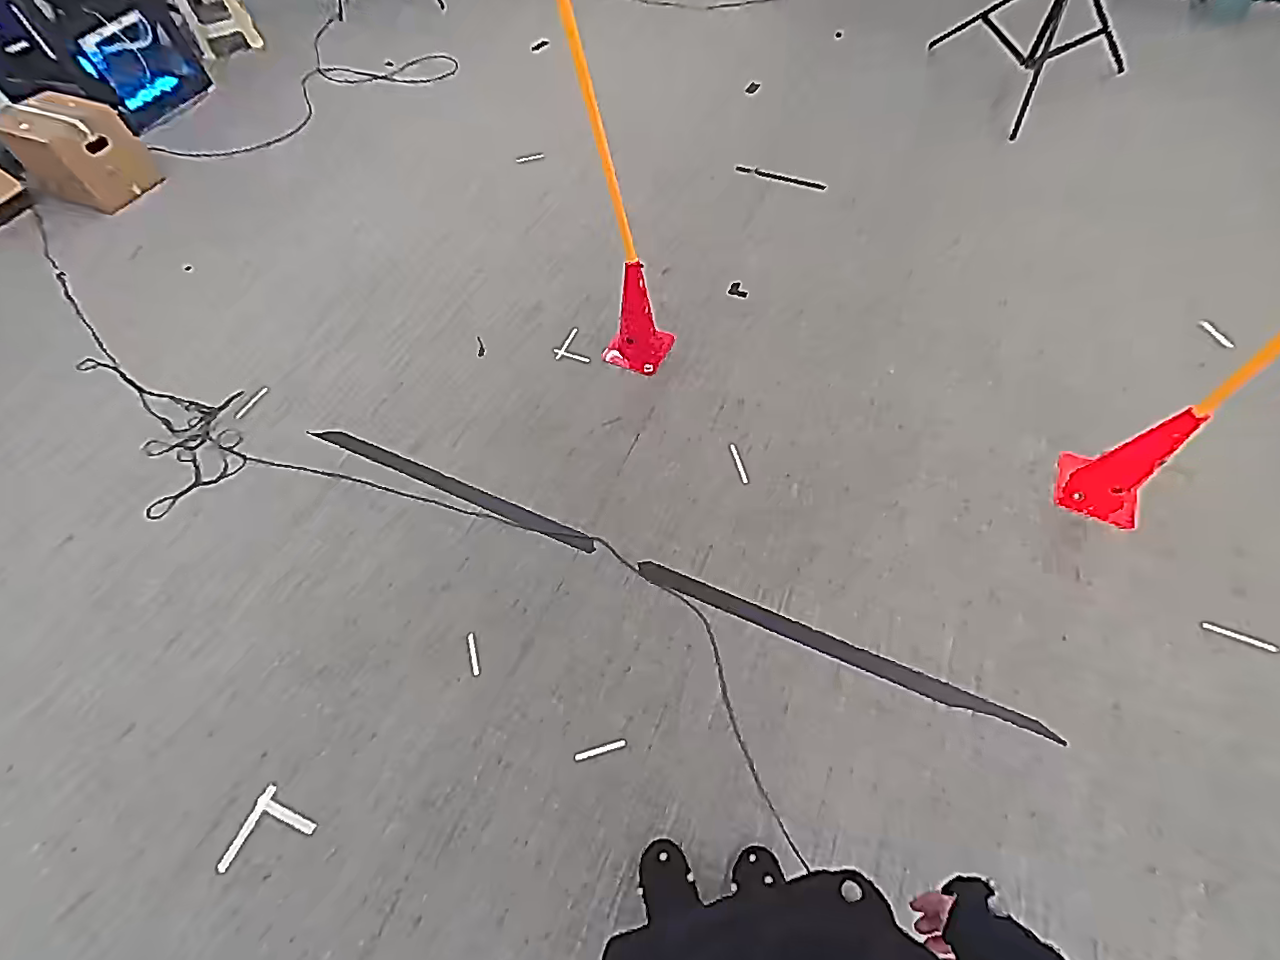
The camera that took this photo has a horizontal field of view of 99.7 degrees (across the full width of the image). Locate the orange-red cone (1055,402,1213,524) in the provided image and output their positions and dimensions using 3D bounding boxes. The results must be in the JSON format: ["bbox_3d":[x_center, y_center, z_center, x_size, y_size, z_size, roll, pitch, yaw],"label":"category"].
[{"bbox_3d":[1.262,-0.073,1.350,0.199,0.360,0.198,24,64,15],"label":"orange-red cone"}]
